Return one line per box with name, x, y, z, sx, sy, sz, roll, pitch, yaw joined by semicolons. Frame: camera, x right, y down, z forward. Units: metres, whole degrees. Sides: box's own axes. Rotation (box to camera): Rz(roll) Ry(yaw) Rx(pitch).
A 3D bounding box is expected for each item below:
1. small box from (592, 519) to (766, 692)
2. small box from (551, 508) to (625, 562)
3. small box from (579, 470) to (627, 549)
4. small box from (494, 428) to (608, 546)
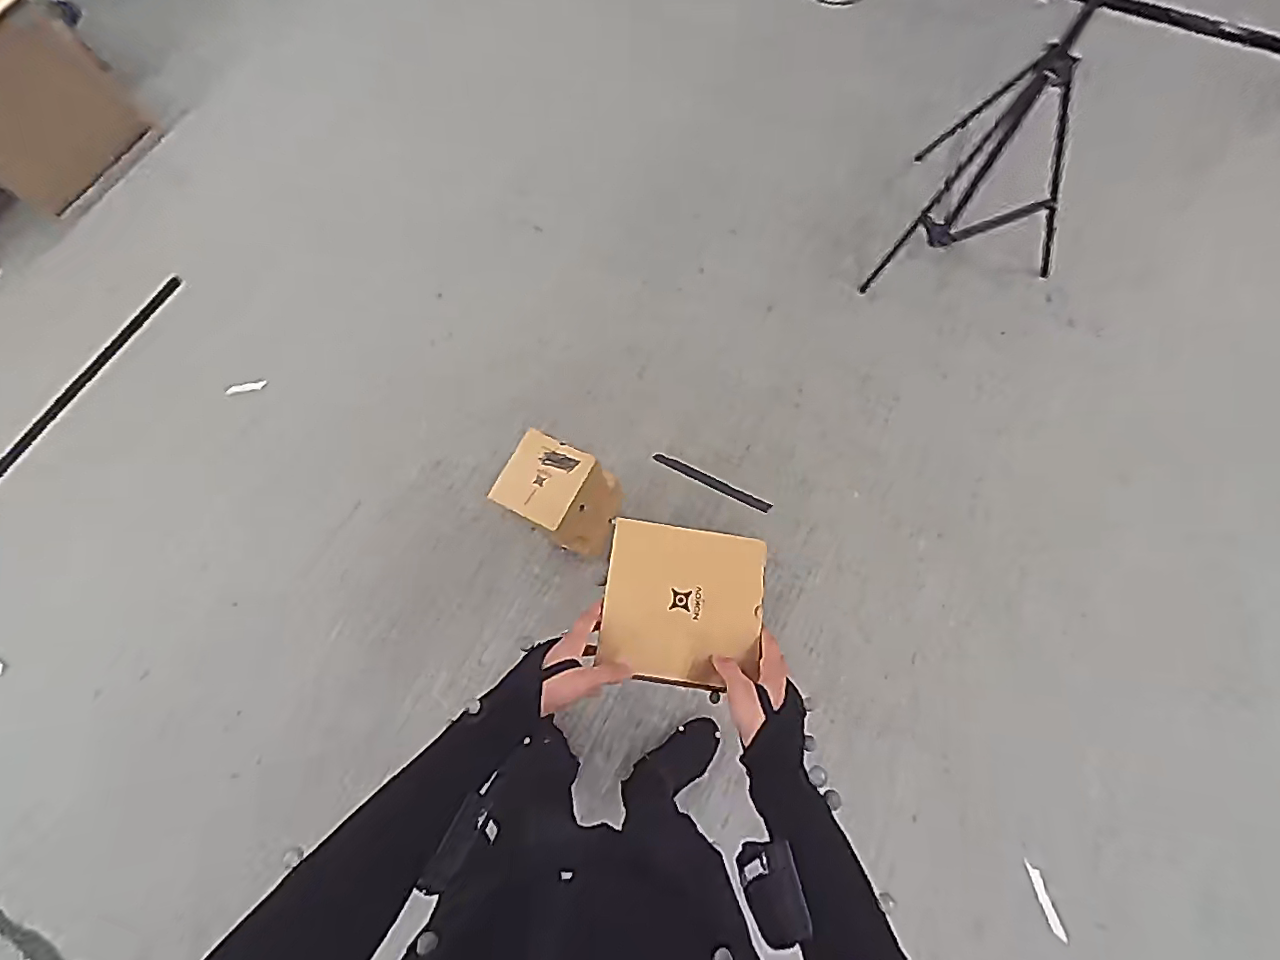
small box;0.040;0.159;0.654;0.179;0.176;0.168;8;69;-2
small box;-0.149;0.105;1.488;0.168;0.176;0.179;24;75;11
small box;-0.146;0.057;1.331;0.179;0.176;0.168;22;75;11
small box;-0.181;0.020;1.172;0.168;0.176;0.179;26;76;13
